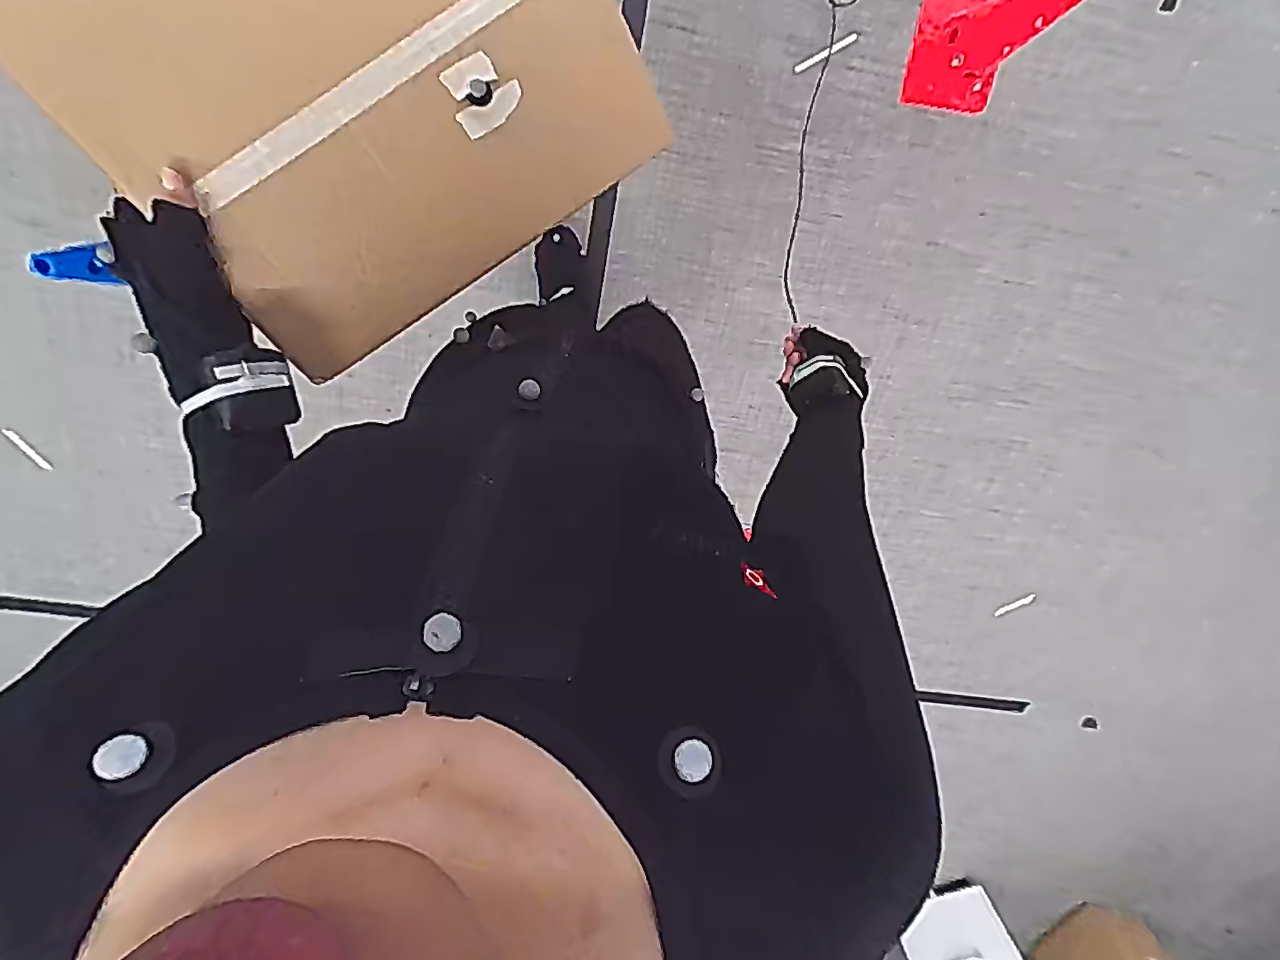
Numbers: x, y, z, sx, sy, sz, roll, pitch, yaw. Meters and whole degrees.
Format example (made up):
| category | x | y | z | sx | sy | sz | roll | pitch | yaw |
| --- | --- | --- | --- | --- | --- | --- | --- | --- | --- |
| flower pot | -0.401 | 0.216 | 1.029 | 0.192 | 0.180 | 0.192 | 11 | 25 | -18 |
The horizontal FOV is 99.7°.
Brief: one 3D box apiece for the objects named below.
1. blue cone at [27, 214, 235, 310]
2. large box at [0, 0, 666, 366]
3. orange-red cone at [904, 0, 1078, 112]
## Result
| category | x | y | z | sx | sy | sz | roll | pitch | yaw |
| --- | --- | --- | --- | --- | --- | --- | --- | --- | --- |
| blue cone | -1.051 | -0.444 | 1.120 | 0.192 | 0.380 | 0.193 | 12 | 112 | -6 |
| large box | -0.254 | -0.380 | 0.559 | 0.408 | 0.320 | 0.320 | -36 | 120 | -2 |
| orange-red cone | 0.688 | -0.850 | 0.997 | 0.198 | 0.360 | 0.199 | 6 | 112 | -6 |
